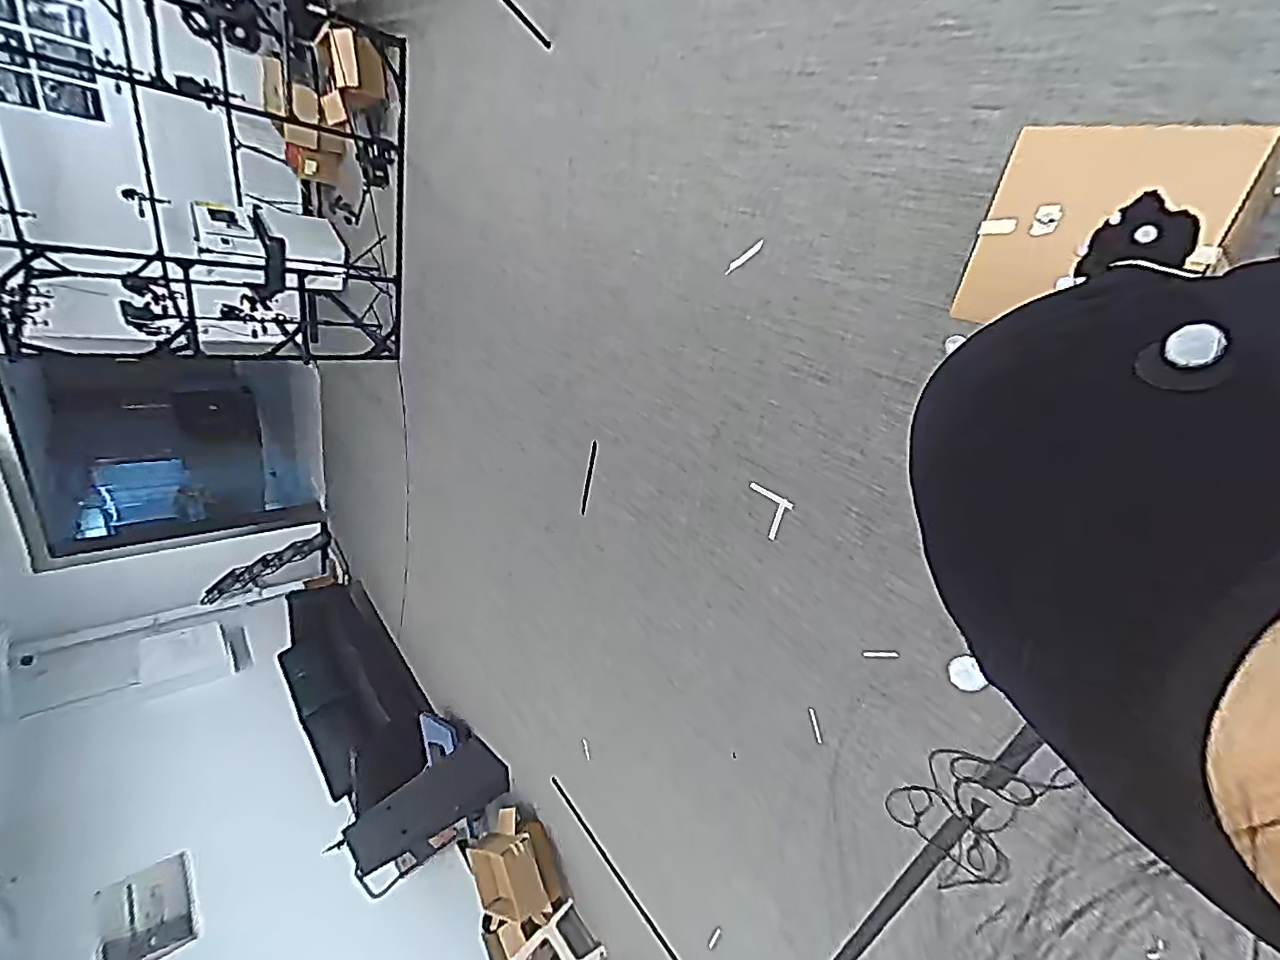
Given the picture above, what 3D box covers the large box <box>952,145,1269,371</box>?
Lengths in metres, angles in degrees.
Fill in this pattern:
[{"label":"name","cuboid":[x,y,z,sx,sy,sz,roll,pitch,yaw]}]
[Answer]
[{"label":"large box","cuboid":[0.848,-0.402,0.994,0.320,0.408,0.320,32,123,38]}]
